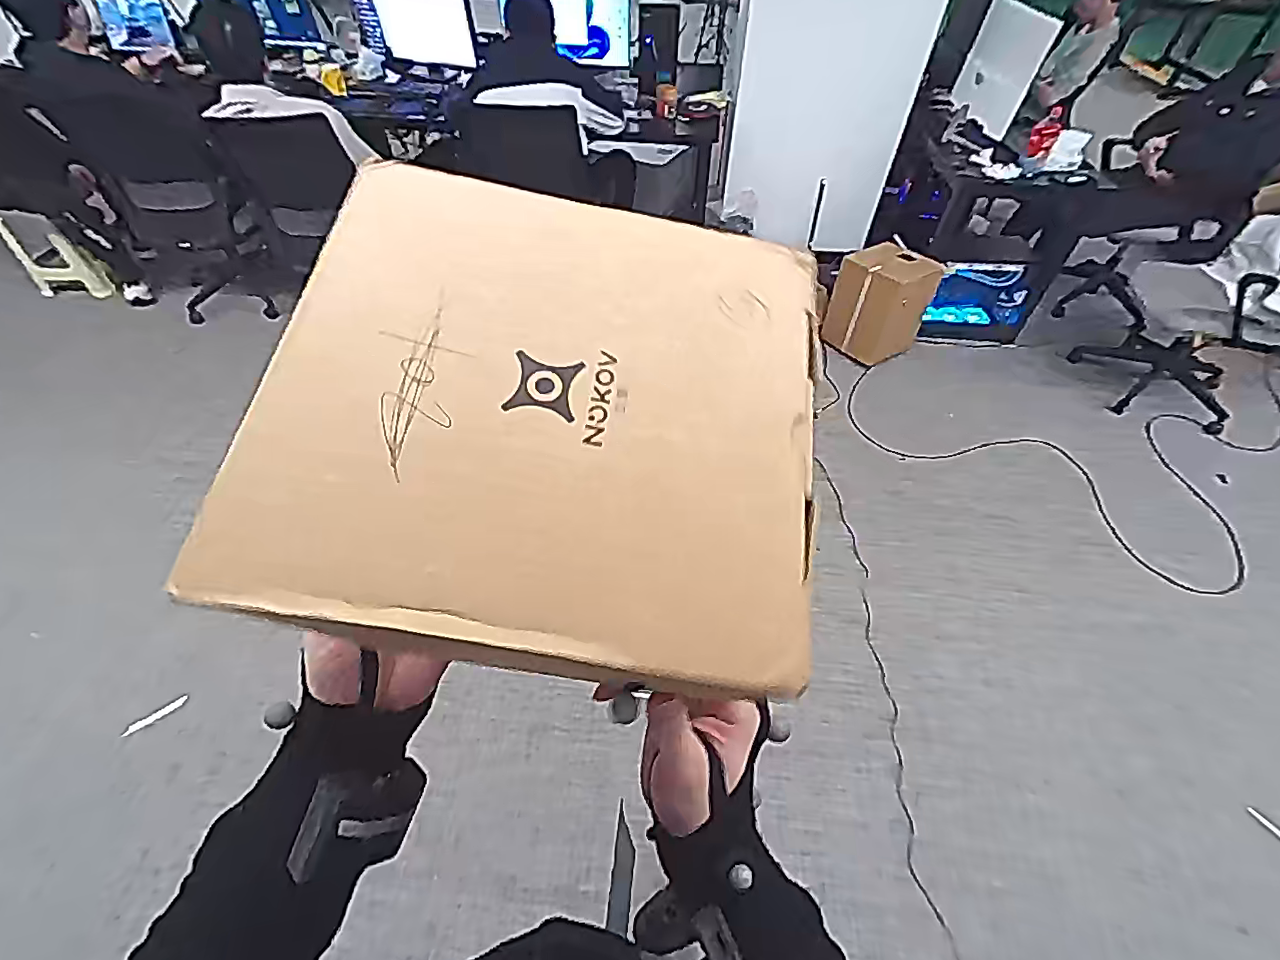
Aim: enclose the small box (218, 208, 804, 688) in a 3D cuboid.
[{"bbox_3d":[-0.039,0.007,0.264,0.179,0.176,0.168,6,66,-5],"label":"small box"}]
